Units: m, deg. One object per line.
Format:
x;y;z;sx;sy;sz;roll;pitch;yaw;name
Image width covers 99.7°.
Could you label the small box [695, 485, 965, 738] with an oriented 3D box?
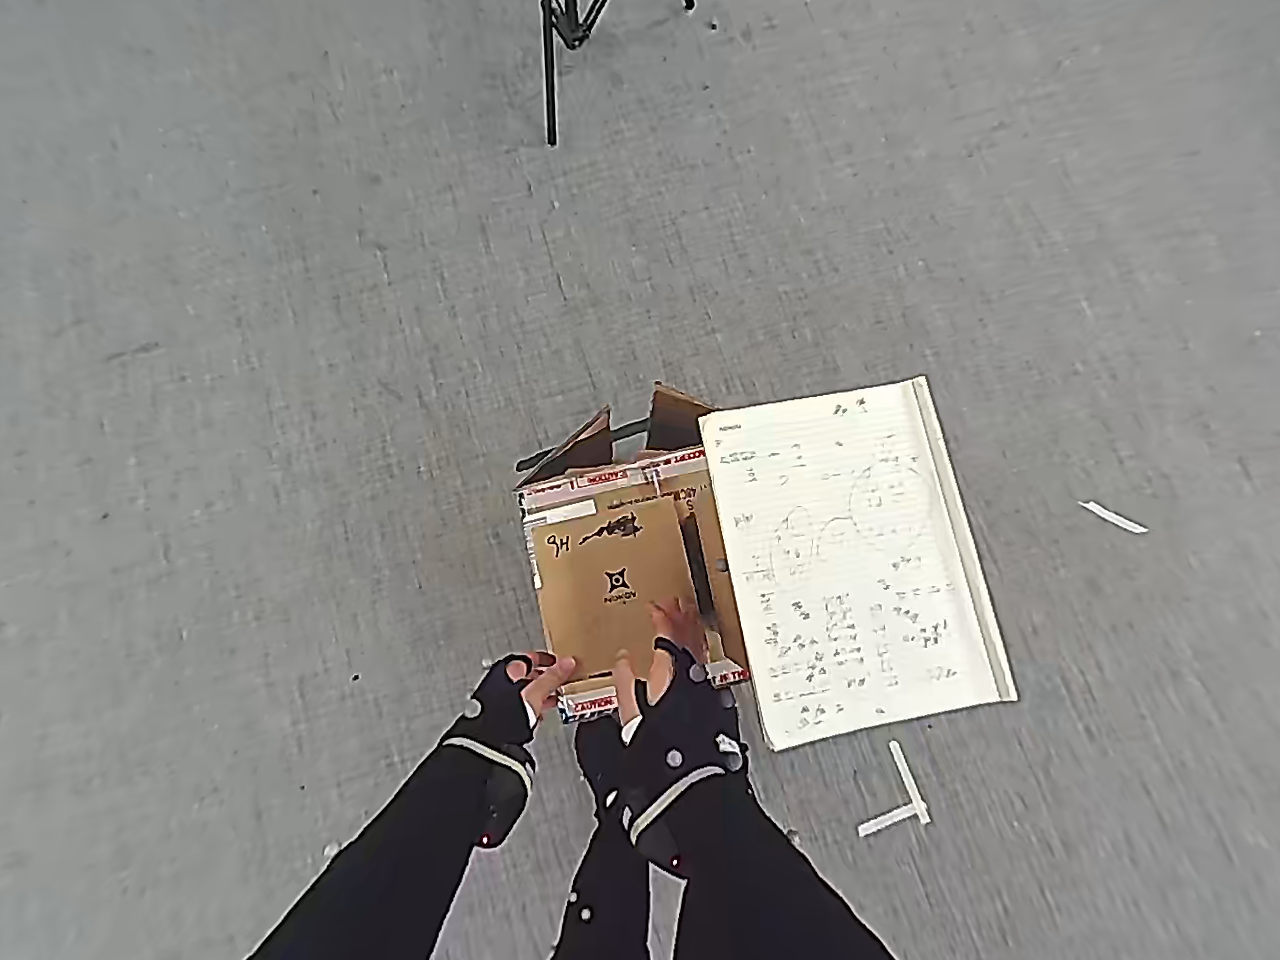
0.157;0.114;0.511;0.168;0.176;0.179;-10;82;-5;small box
